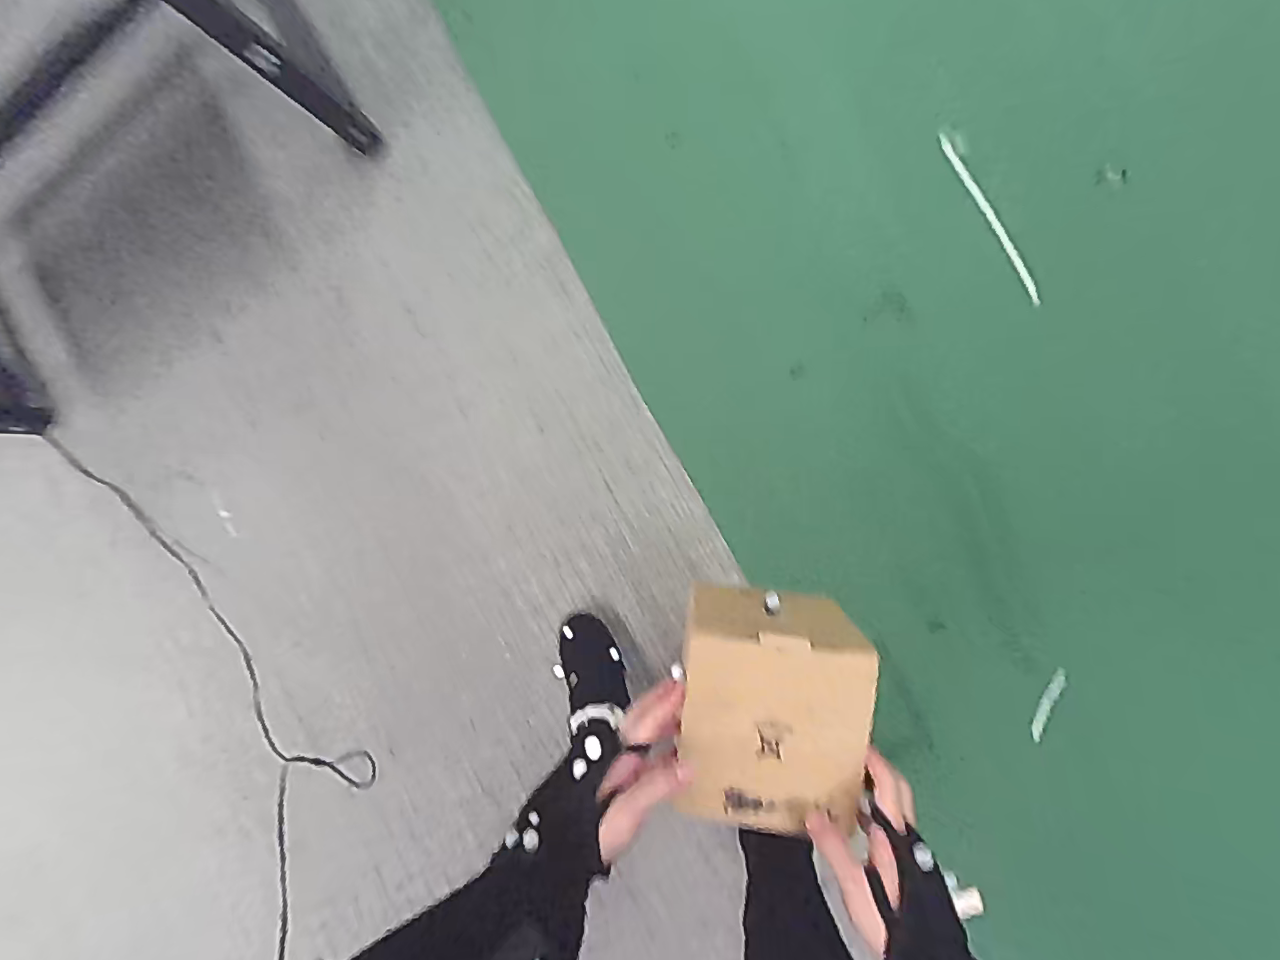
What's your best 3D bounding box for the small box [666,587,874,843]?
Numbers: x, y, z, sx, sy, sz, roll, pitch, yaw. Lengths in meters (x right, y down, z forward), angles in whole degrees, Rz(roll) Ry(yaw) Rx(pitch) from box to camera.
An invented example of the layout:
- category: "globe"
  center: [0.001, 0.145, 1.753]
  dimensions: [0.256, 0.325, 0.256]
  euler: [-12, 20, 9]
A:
- category: "small box"
  center: [0.120, 0.220, 0.555]
  dimensions: [0.168, 0.176, 0.179]
  euler: [6, 95, 5]
